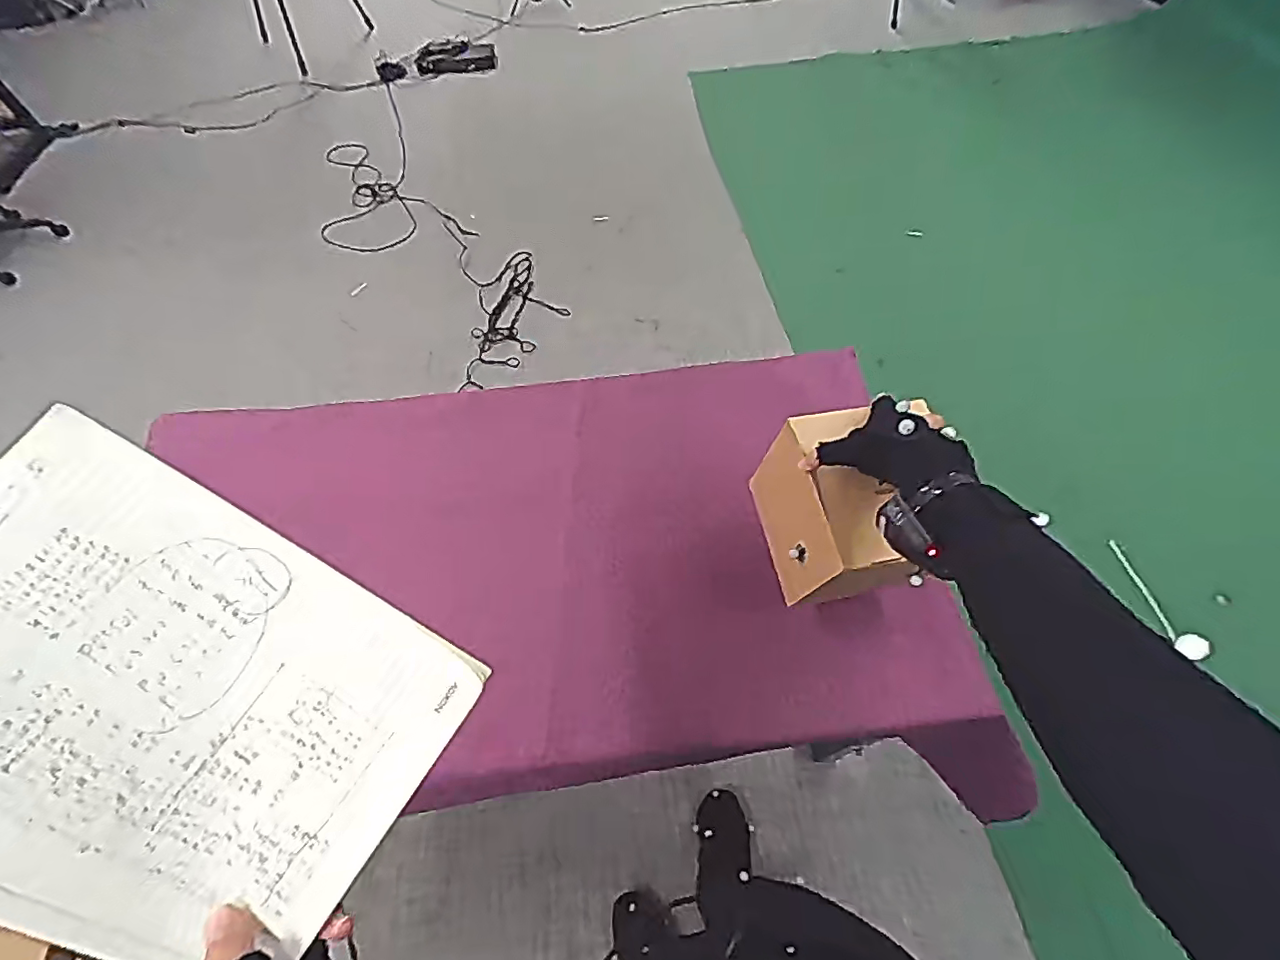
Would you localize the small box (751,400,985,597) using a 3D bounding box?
[{"bbox_3d":[0.248,0.031,0.638,0.168,0.176,0.179,-8,65,-9],"label":"small box"}]
